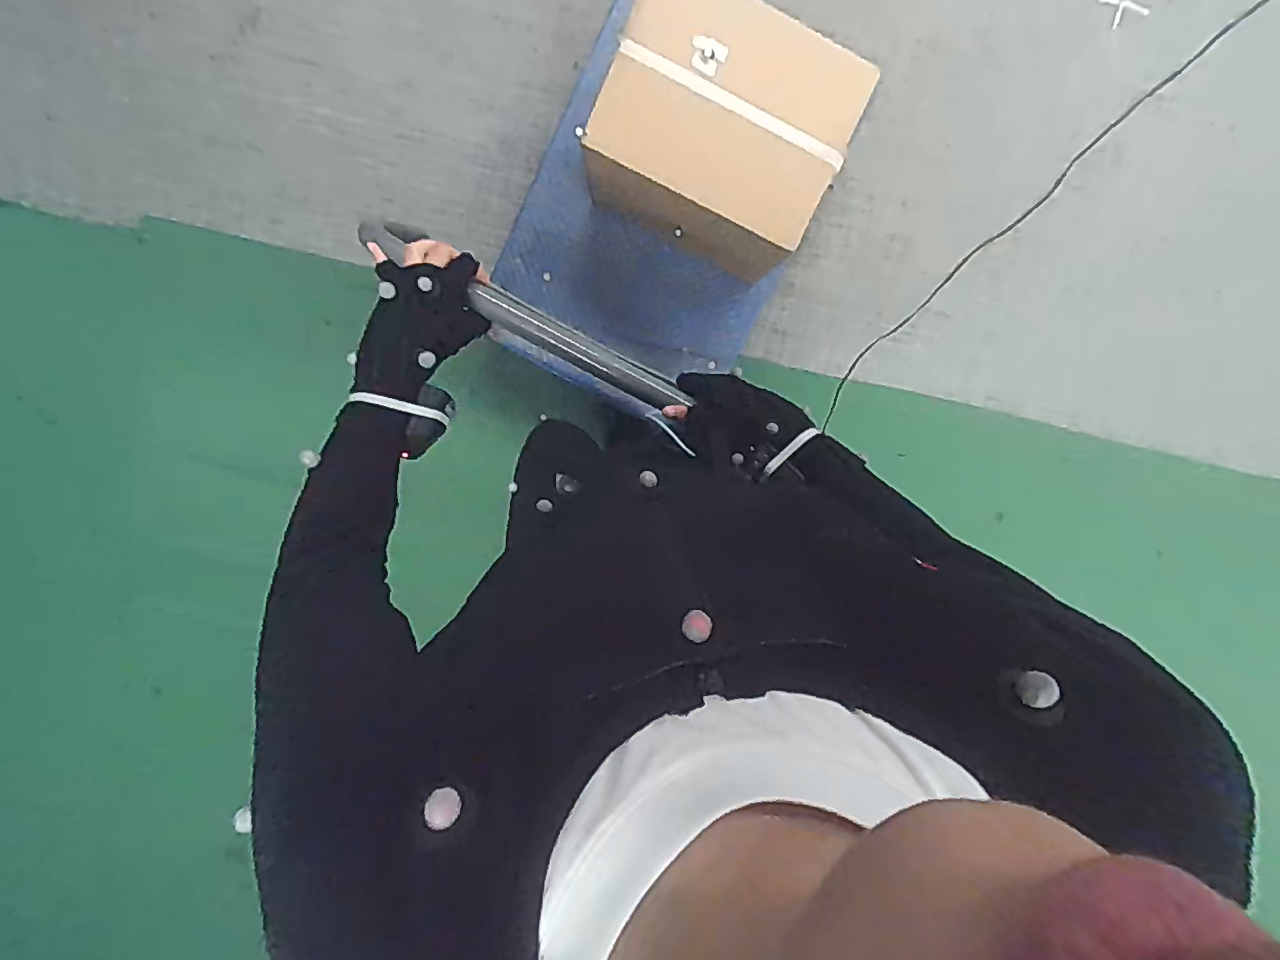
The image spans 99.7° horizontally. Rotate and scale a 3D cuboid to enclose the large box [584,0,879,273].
[{"bbox_3d":[0.149,-0.645,1.029,0.408,0.320,0.320,24,99,-4],"label":"large box"}]
